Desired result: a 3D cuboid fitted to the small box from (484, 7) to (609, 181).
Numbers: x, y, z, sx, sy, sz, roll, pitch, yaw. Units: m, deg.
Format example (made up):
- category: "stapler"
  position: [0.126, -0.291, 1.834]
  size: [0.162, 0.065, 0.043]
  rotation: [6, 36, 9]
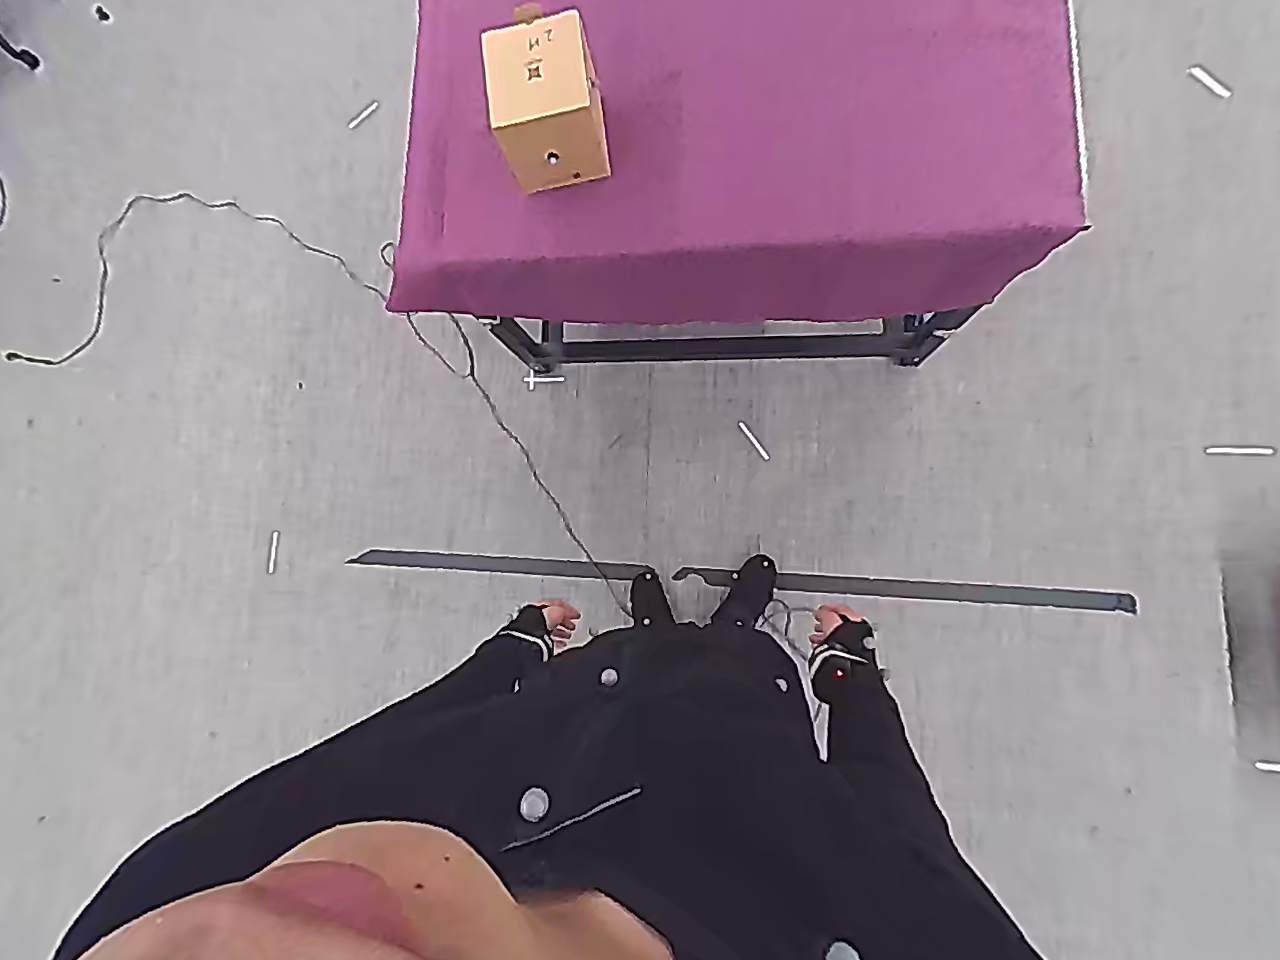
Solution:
- category: "small box"
  position: [-0.155, -0.652, 0.941]
  size: [0.168, 0.176, 0.179]
  rotation: [-8, 82, 7]
